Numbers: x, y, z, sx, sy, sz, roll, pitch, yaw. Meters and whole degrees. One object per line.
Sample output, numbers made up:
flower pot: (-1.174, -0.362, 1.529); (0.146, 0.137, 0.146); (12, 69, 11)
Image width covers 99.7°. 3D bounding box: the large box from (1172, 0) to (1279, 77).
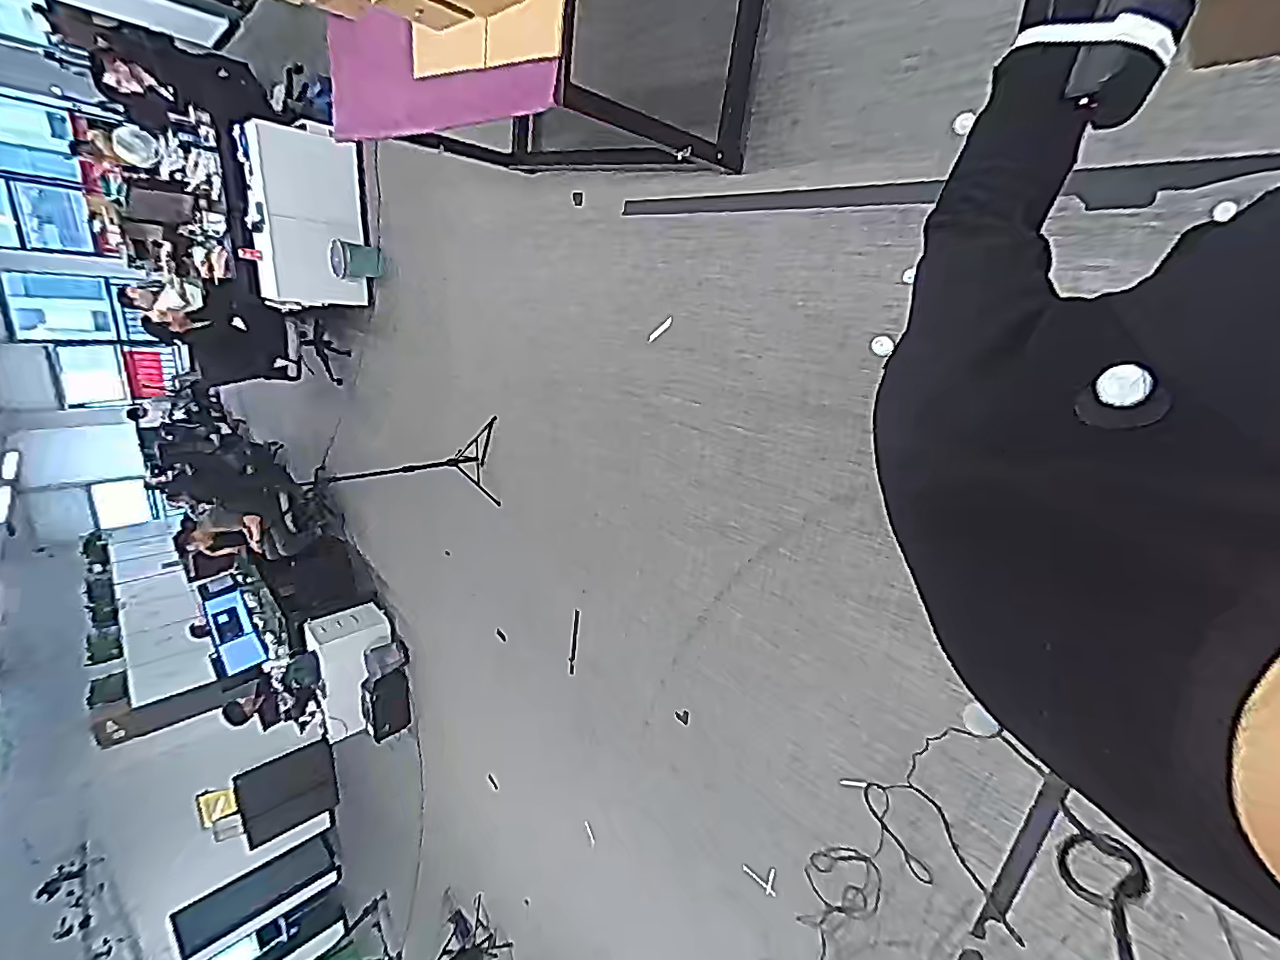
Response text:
large box: (0.585, -0.457, 0.267); (0.408, 0.320, 0.320); (21, 121, 41)
